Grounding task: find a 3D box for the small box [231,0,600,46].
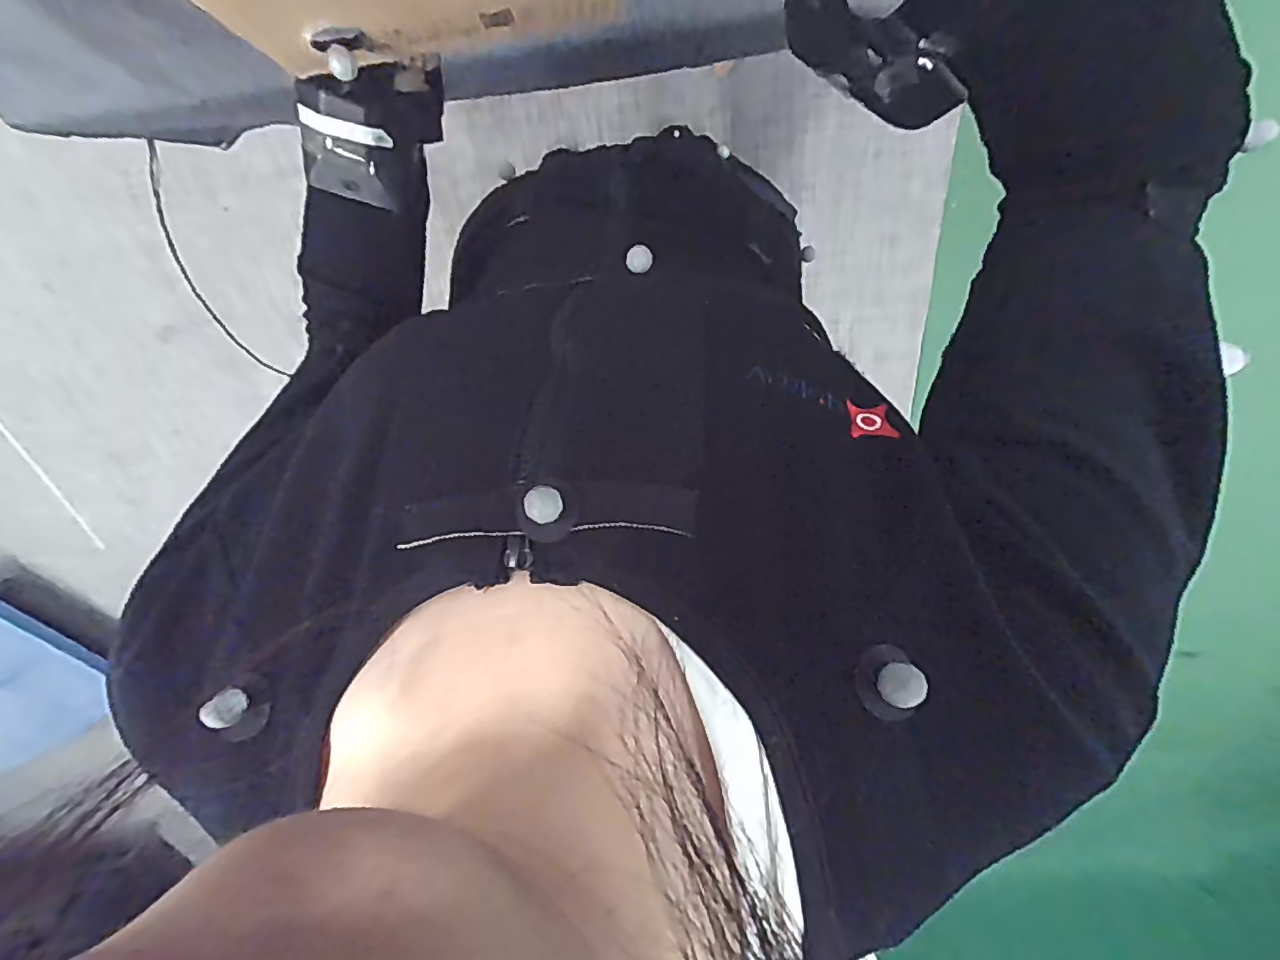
[{"bbox_3d":[-0.095,-0.265,0.157,0.168,0.176,0.179,-12,109,0],"label":"small box"}]
